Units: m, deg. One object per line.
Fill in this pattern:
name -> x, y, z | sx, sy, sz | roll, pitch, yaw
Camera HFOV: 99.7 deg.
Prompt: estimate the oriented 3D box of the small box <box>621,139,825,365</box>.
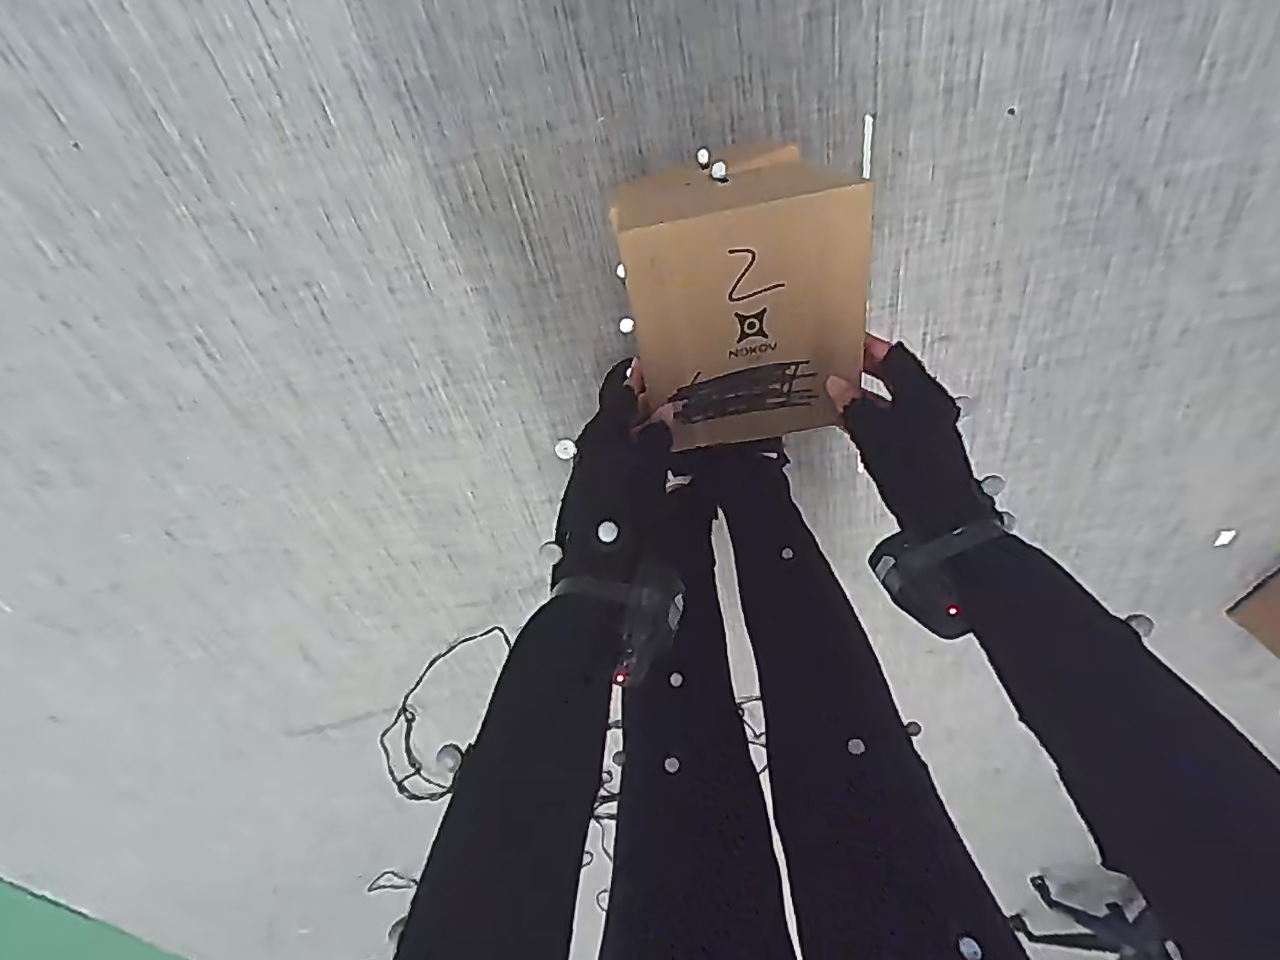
small box -> 0.083, -0.252, 0.587 | 0.179, 0.176, 0.168 | -14, 123, 9
